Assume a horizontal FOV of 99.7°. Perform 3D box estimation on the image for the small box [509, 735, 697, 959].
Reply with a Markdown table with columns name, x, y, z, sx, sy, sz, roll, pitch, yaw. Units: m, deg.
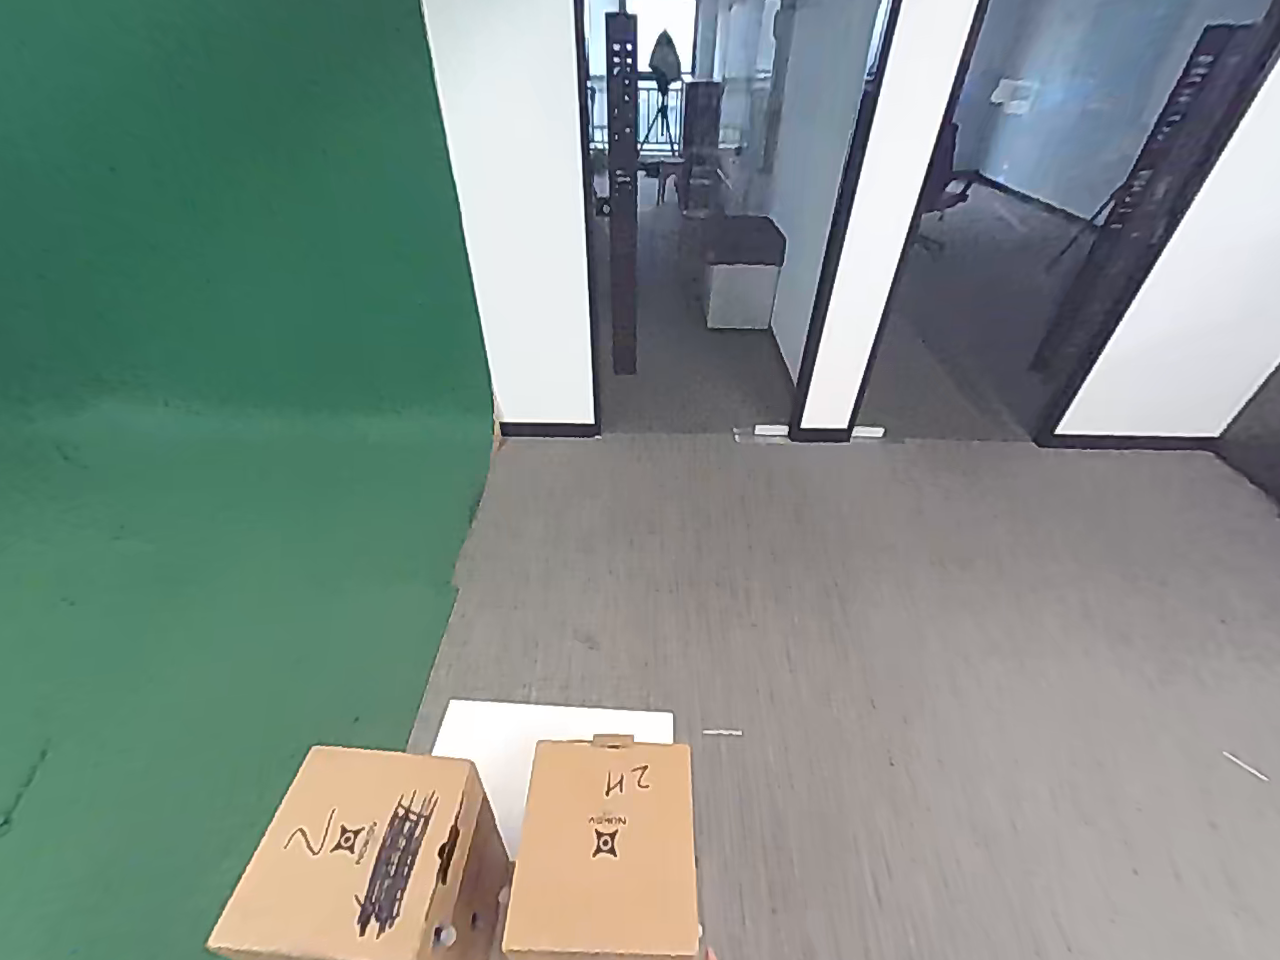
| name | x | y | z | sx | sy | sz | roll | pitch | yaw |
| --- | --- | --- | --- | --- | --- | --- | --- | --- | --- |
| small box | -0.028 | 0.395 | 0.570 | 0.168 | 0.176 | 0.179 | 1 | 40 | 1 |

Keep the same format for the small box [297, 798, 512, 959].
| name | x | y | z | sx | sy | sz | roll | pitch | yaw |
| --- | --- | --- | --- | --- | --- | --- | --- | --- | --- |
| small box | -0.270 | 0.522 | 0.671 | 0.179 | 0.176 | 0.168 | 5 | 40 | 1 |
